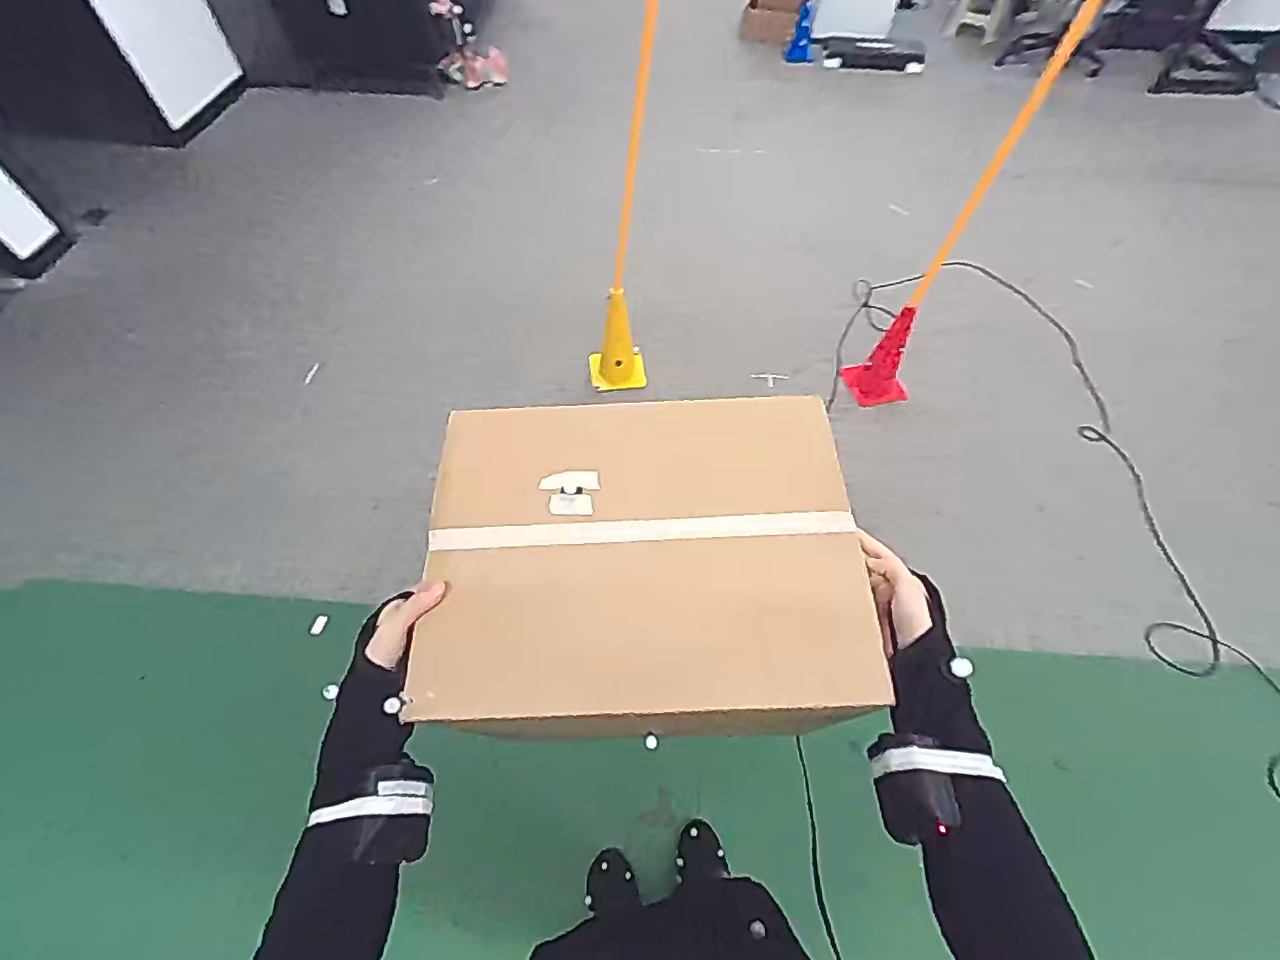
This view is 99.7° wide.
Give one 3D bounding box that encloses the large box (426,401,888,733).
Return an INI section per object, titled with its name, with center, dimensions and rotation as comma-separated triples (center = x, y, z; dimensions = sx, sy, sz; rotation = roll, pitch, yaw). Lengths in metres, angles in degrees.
[large box]
center = 0.018, 0.128, 0.660
dimensions = 0.408, 0.320, 0.320
rotation = -2, 61, 3
